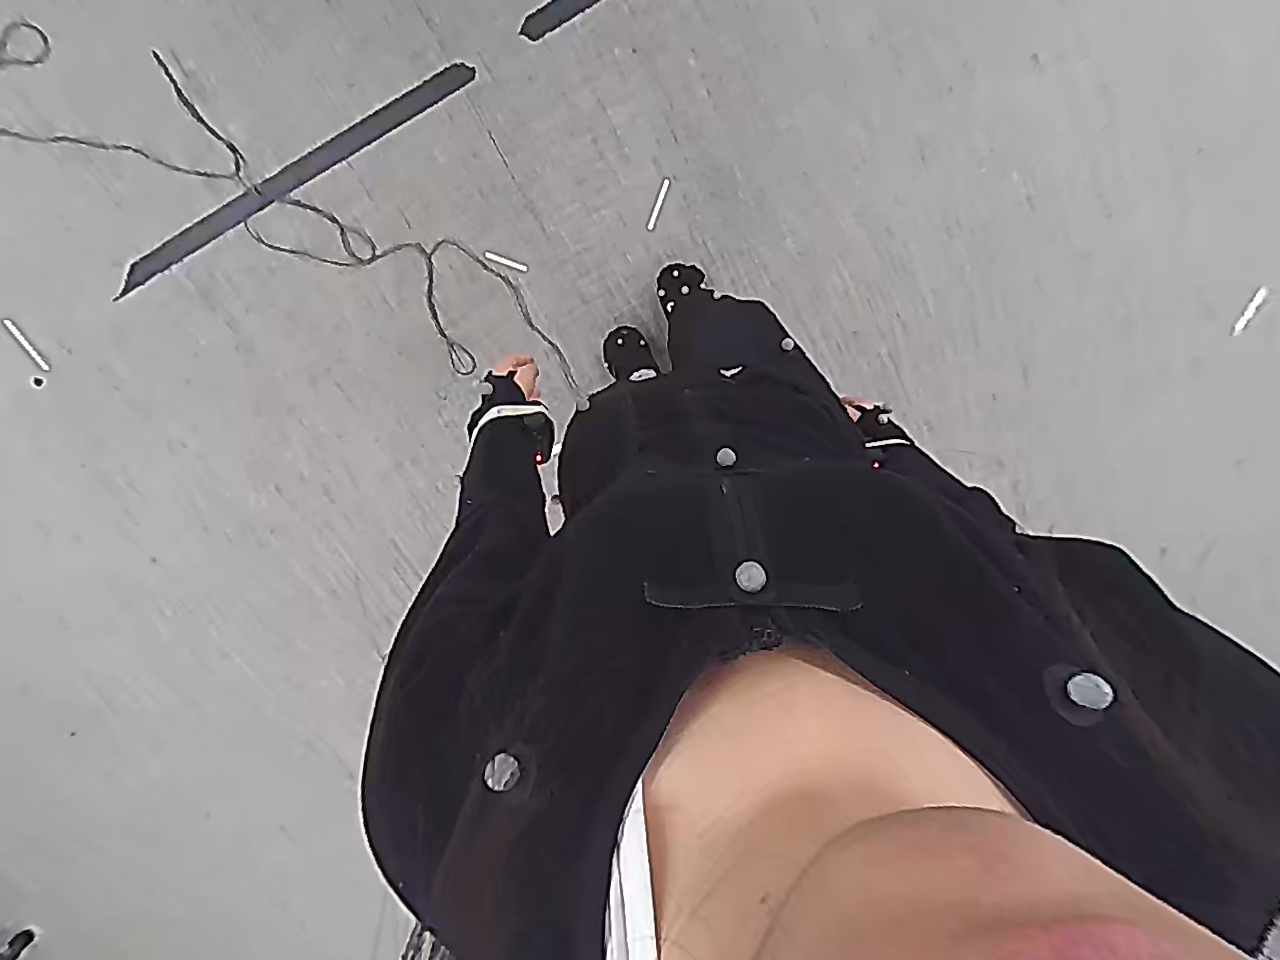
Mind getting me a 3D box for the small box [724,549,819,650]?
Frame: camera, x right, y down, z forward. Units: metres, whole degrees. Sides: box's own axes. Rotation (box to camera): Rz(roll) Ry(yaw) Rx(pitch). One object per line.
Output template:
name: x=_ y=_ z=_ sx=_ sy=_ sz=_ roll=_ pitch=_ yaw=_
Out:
small box: x=0.355 y=0.322 z=1.484 sx=0.168 sy=0.176 sz=0.179 roll=-34 pitch=105 yaw=7
